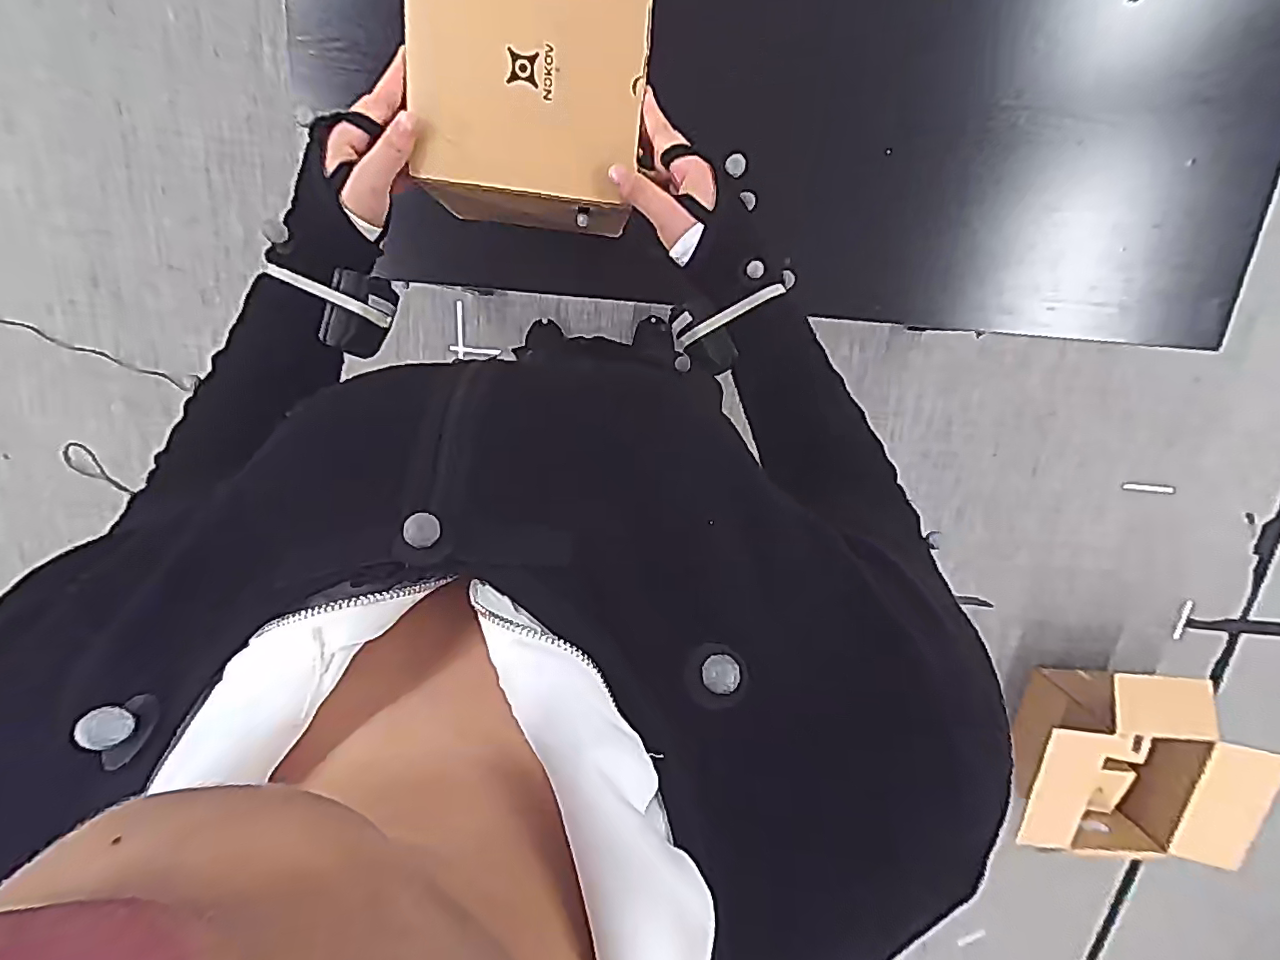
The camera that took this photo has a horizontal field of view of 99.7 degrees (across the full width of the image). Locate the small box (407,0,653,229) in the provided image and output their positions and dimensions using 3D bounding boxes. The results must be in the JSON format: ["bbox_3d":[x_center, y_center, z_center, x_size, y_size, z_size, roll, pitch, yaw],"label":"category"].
[{"bbox_3d":[-0.091,-0.330,0.479,0.179,0.176,0.168,3,107,-9],"label":"small box"}]
